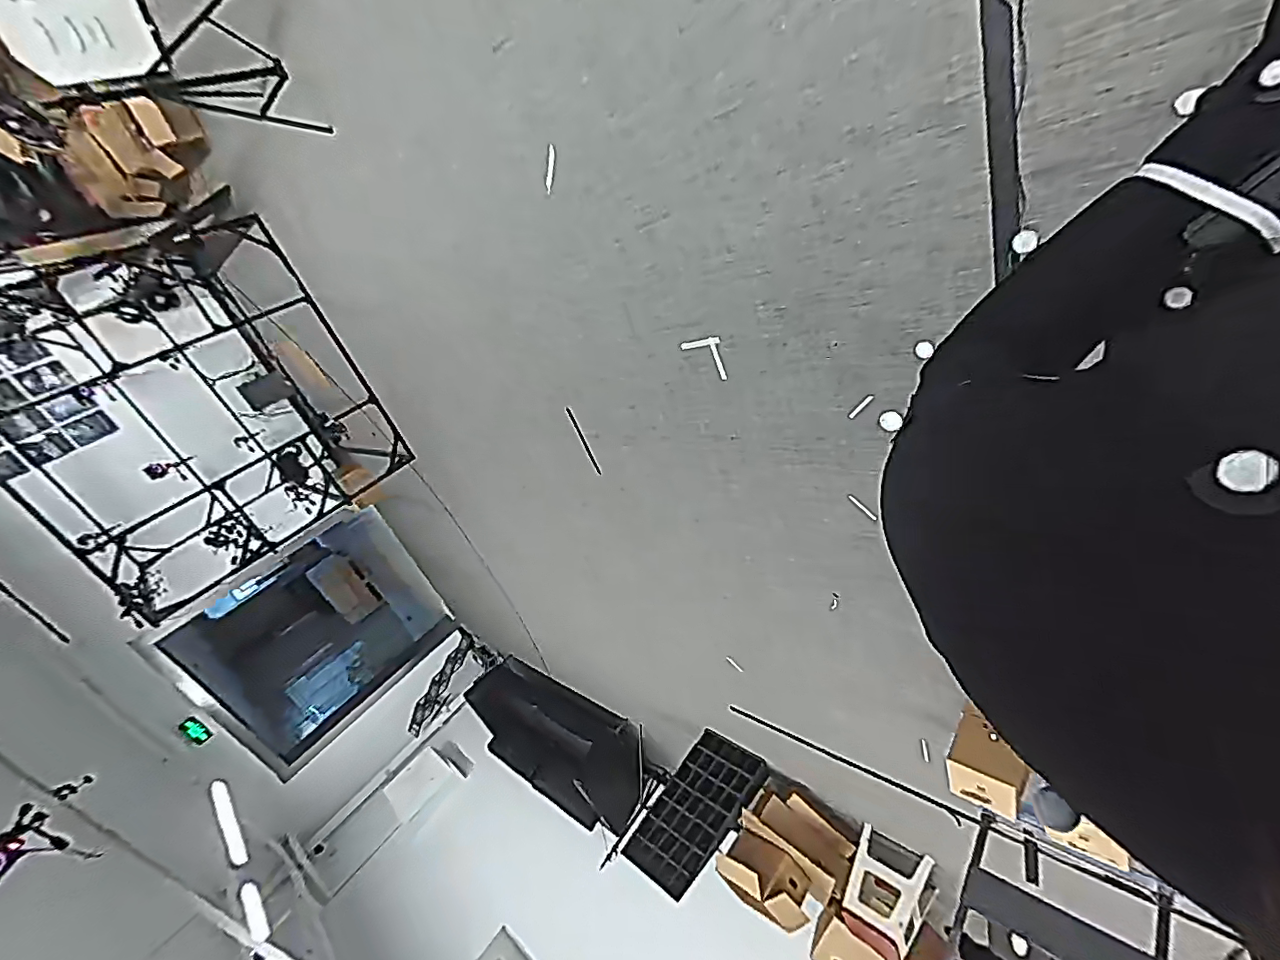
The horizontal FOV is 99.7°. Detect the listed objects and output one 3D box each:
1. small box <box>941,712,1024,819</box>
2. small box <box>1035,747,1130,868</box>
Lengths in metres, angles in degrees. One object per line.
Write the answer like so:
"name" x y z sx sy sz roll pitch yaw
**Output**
"small box" 0.977 0.806 1.540 0.168 0.176 0.179 11 132 44
"small box" 1.134 0.829 1.386 0.168 0.176 0.179 4 127 47
